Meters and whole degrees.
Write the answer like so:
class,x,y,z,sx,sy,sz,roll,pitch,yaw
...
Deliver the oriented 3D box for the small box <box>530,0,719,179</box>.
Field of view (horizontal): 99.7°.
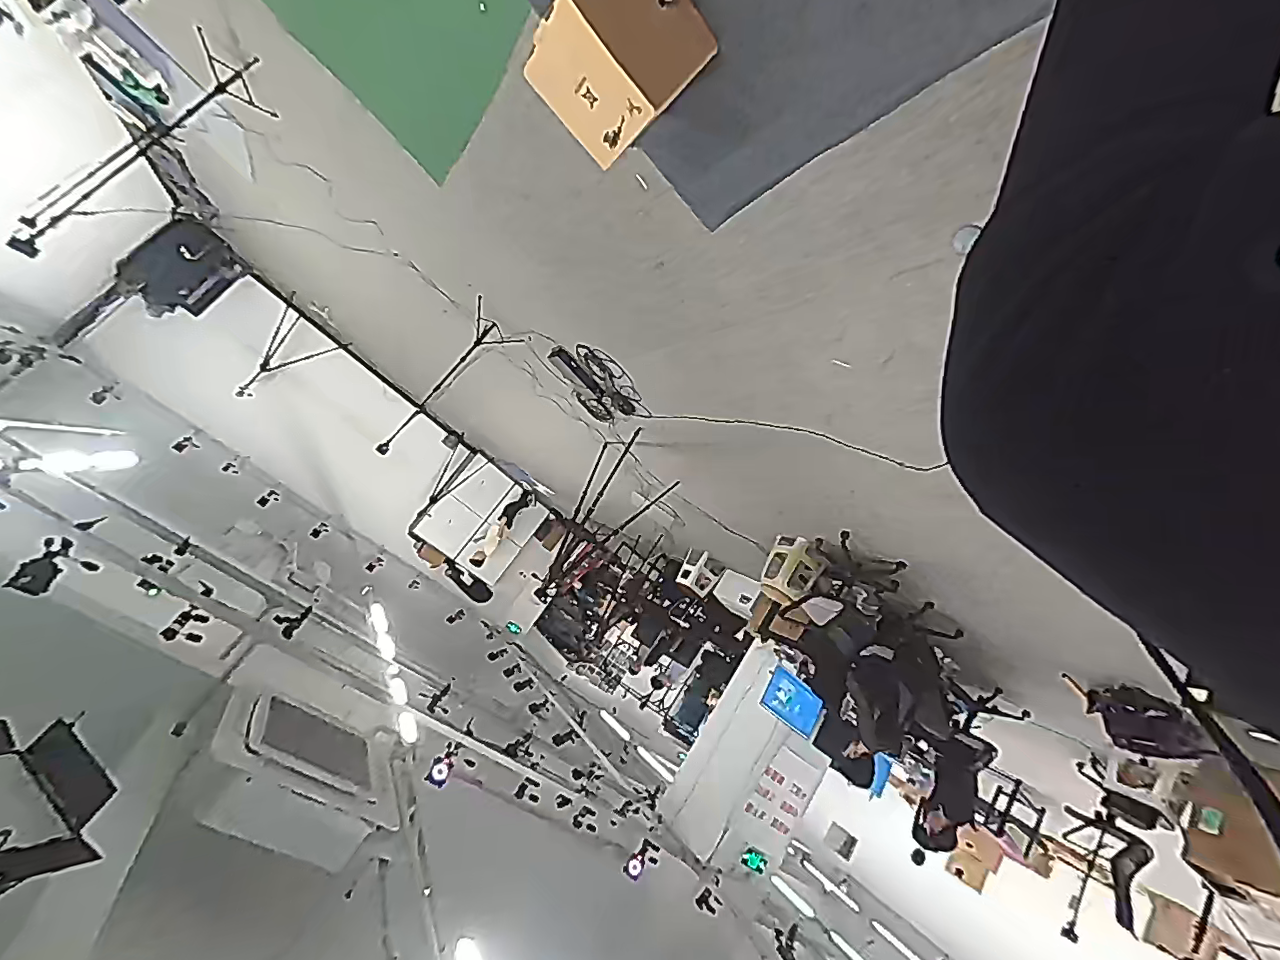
class,x,y,z,sx,sy,sz,roll,pitch,yaw
small box,-0.022,-0.594,0.783,0.179,0.176,0.168,43,163,-22
